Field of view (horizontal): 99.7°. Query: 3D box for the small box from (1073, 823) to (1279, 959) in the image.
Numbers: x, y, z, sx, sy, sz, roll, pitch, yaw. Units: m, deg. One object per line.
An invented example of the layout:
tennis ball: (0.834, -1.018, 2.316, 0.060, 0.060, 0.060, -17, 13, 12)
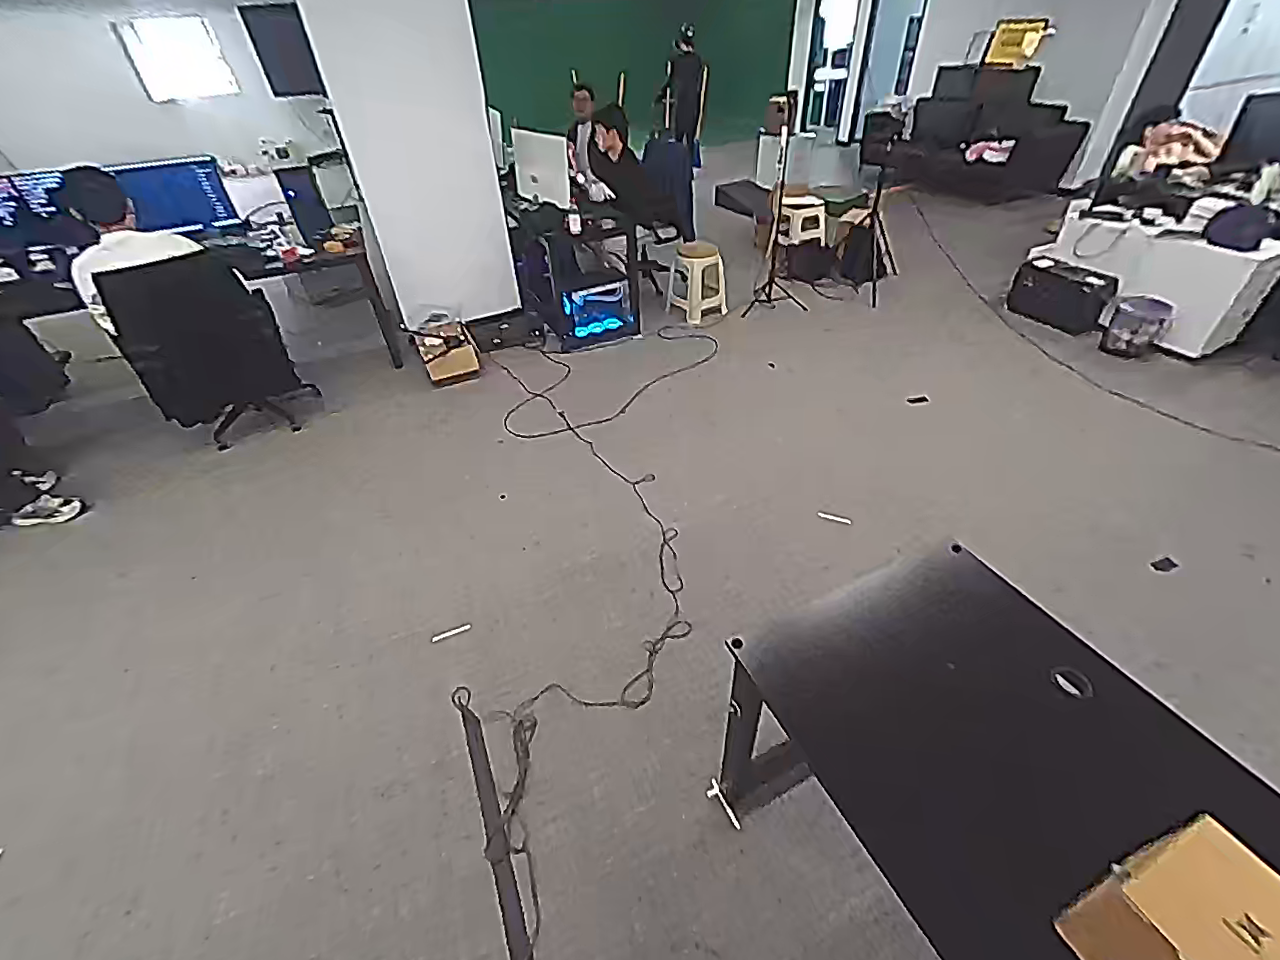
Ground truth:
small box: (0.658, 0.543, 0.621, 0.179, 0.176, 0.168, -19, 43, -18)
